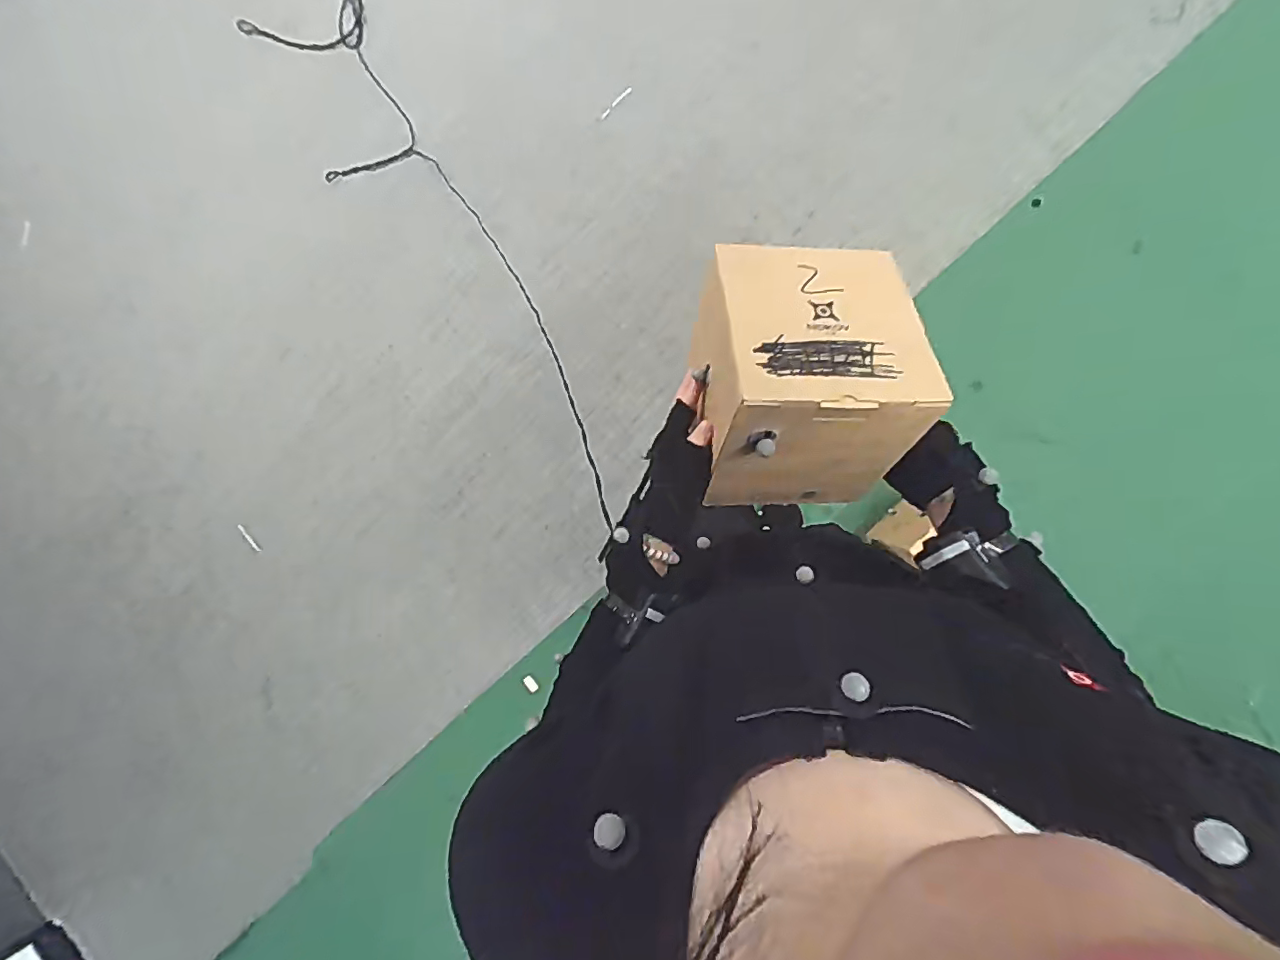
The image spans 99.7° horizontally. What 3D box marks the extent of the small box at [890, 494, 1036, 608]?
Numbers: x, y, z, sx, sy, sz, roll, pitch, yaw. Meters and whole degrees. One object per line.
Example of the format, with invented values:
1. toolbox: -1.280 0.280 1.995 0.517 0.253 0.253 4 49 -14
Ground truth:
1. small box: 0.679 0.142 1.161 0.179 0.176 0.168 44 96 8
